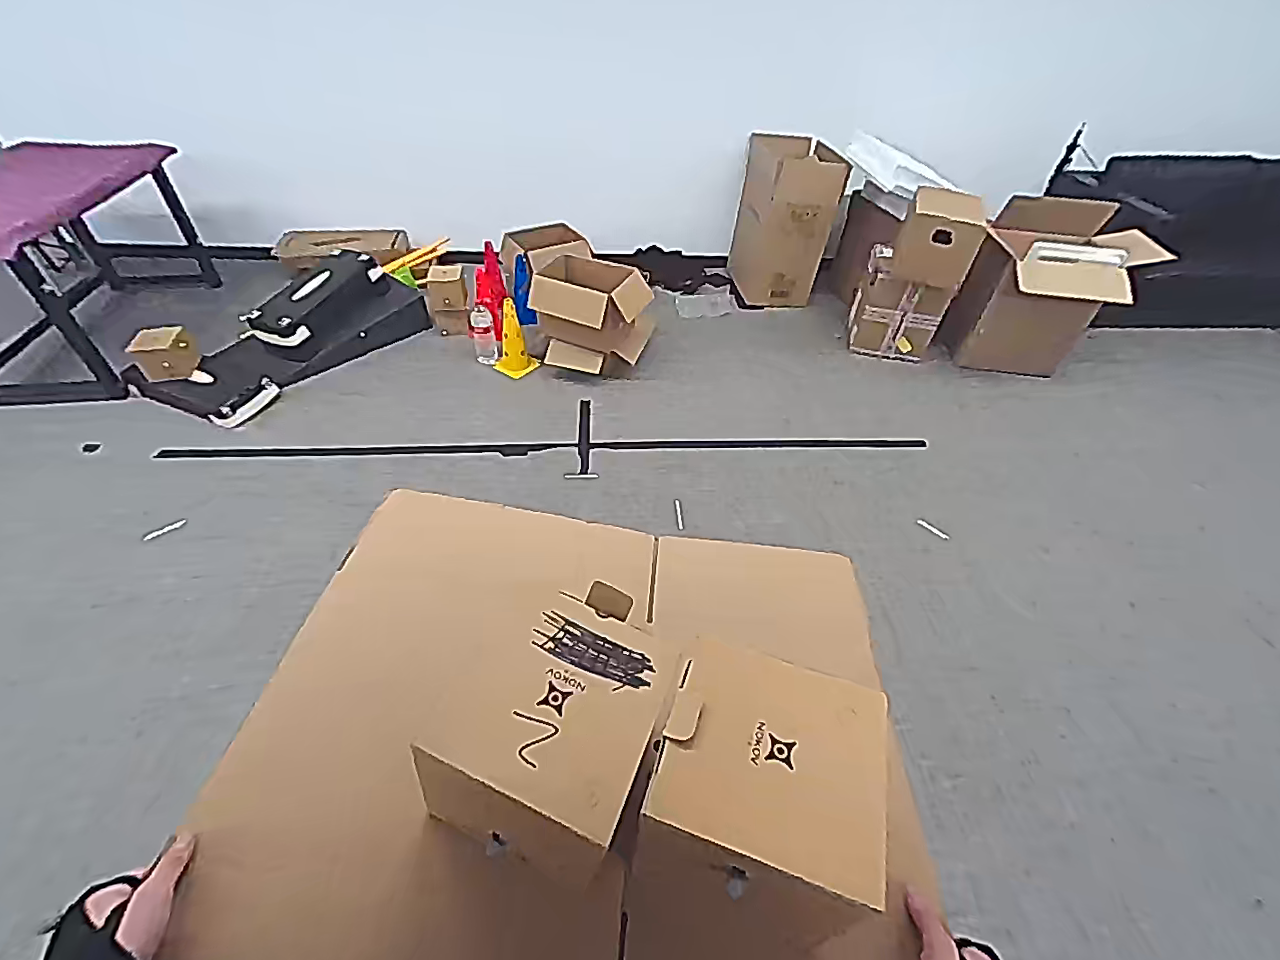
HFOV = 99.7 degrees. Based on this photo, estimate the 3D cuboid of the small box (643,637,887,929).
[{"bbox_3d":[0.111,0.282,0.504,0.179,0.176,0.168,14,44,13],"label":"small box"}]
